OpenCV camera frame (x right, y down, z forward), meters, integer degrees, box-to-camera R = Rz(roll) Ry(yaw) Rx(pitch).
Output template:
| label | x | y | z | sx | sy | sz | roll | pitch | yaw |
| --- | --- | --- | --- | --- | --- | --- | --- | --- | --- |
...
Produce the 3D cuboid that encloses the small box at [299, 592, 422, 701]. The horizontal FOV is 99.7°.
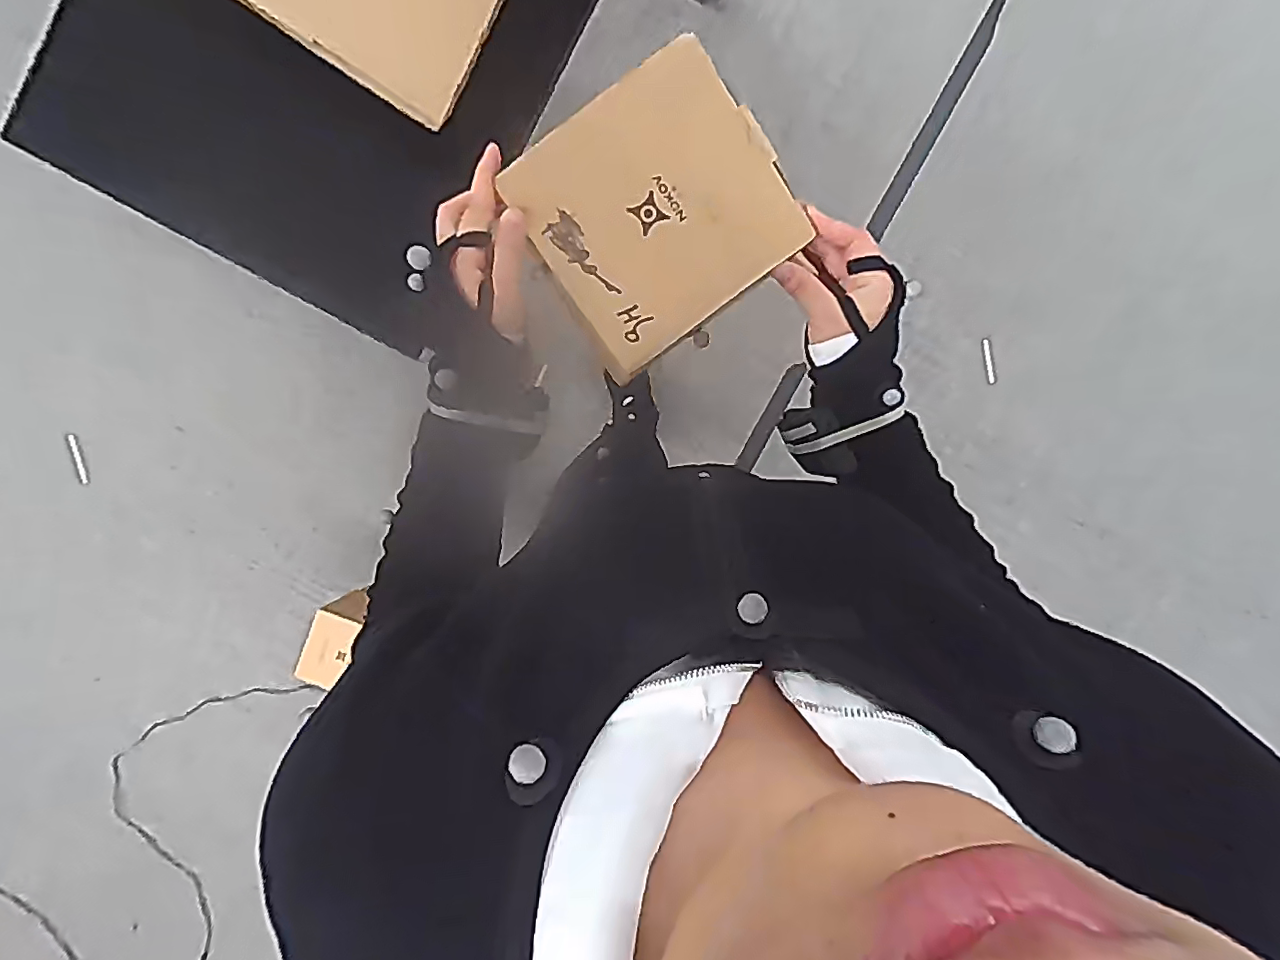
| label | x | y | z | sx | sy | sz | roll | pitch | yaw |
| --- | --- | --- | --- | --- | --- | --- | --- | --- | --- |
| small box | -0.641 | 0.379 | 1.265 | 0.179 | 0.176 | 0.168 | 21 | 93 | -1 |
